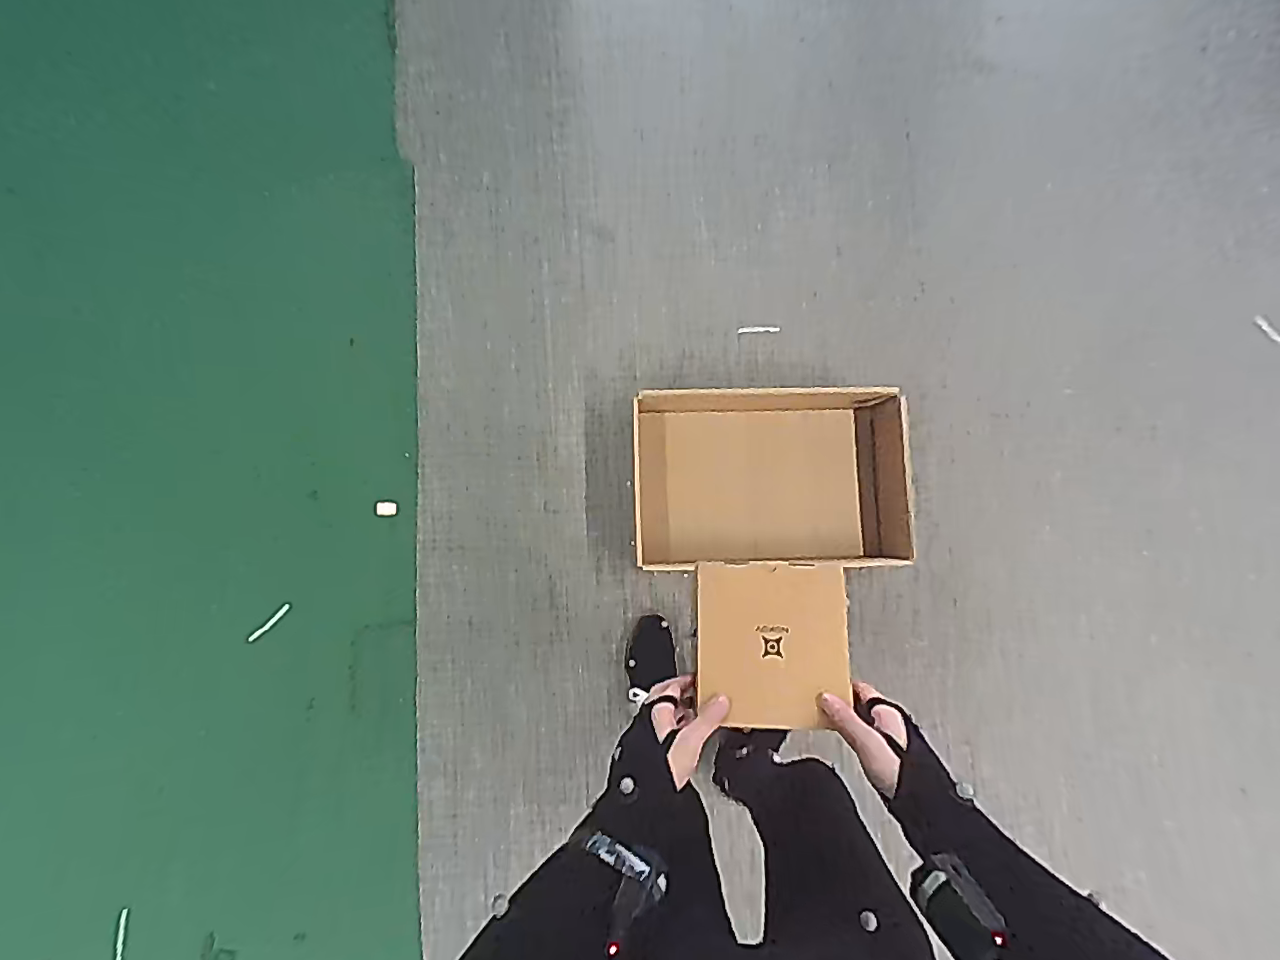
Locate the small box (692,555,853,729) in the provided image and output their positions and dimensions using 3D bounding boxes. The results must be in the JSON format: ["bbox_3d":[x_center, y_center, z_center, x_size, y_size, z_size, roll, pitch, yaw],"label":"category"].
[{"bbox_3d":[0.151,0.196,0.668,0.168,0.176,0.179,2,72,4],"label":"small box"}]
